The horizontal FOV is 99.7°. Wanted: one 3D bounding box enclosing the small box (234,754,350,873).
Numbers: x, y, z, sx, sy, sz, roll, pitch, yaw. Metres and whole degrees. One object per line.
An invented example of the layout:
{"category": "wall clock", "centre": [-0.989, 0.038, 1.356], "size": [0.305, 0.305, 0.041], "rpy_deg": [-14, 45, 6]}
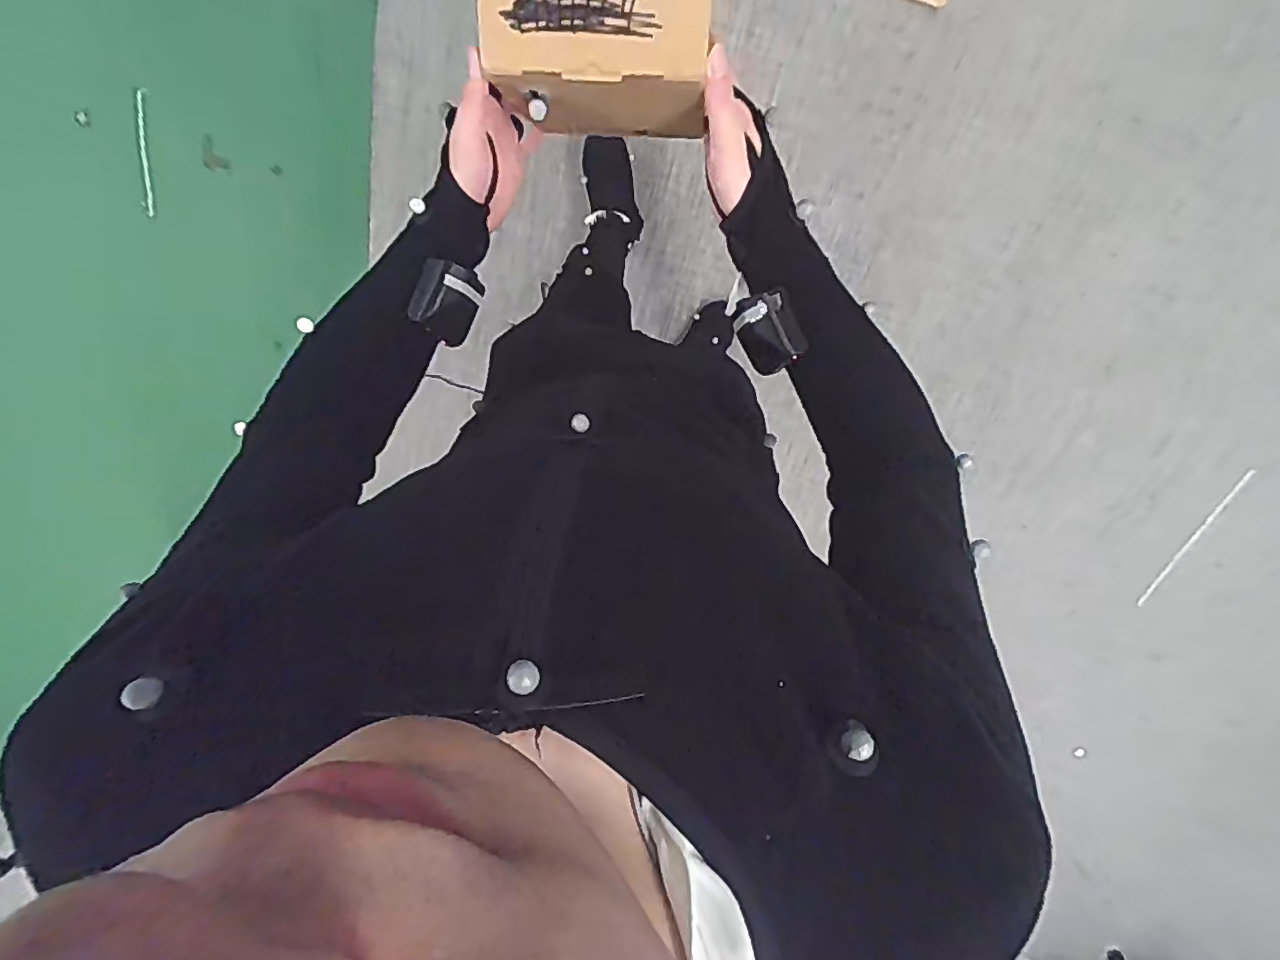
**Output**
{"category": "small box", "centre": [-0.854, 0.816, 1.338], "size": [0.179, 0.176, 0.168], "rpy_deg": [16, 116, 2]}
